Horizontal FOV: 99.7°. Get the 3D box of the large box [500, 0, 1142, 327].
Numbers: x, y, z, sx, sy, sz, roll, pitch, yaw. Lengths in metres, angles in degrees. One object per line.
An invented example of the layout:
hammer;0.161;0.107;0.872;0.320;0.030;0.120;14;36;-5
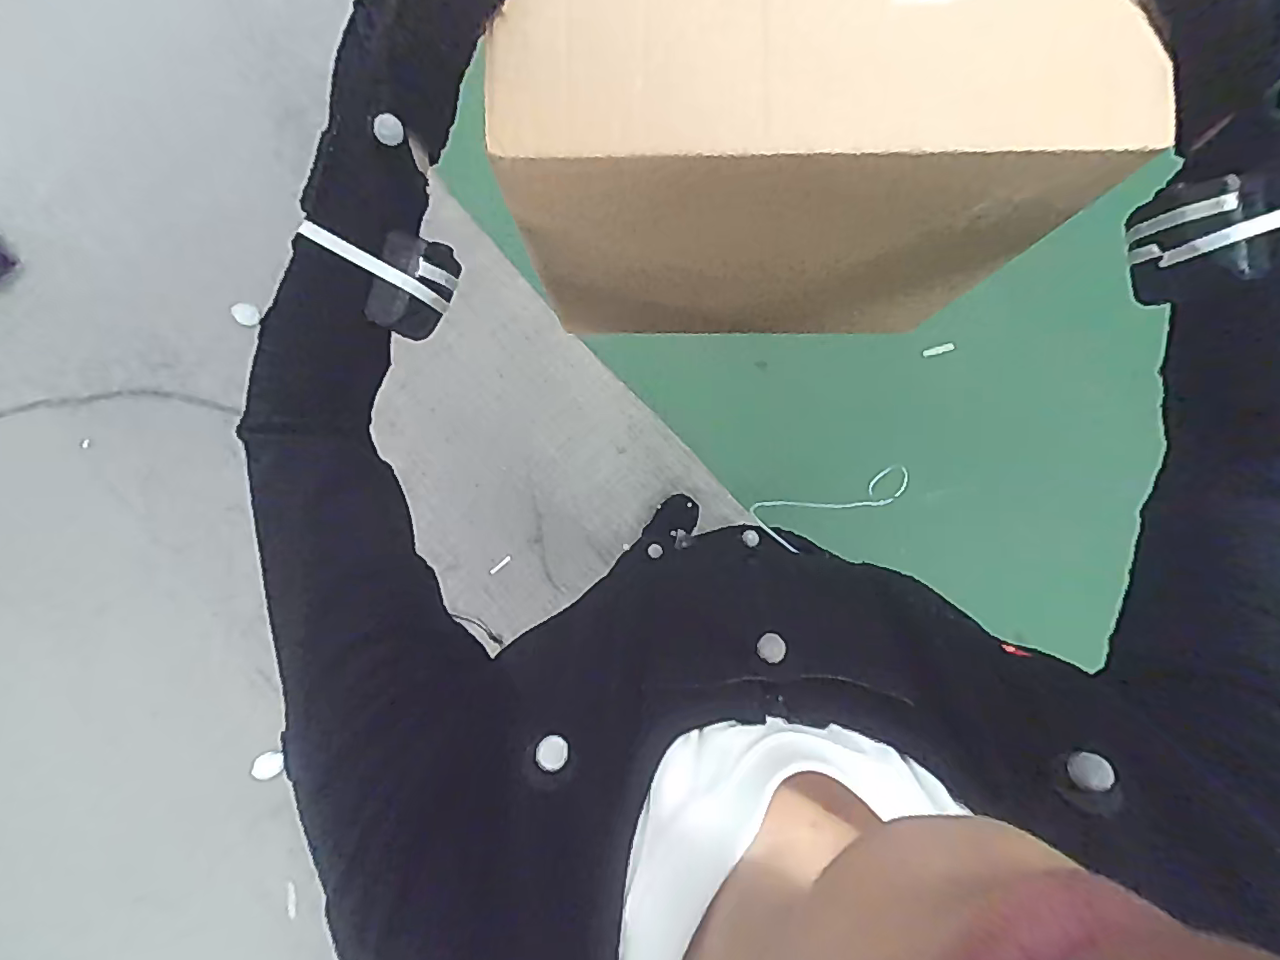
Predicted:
large box;0.108;-0.341;0.490;0.408;0.320;0.320;1;86;-1
